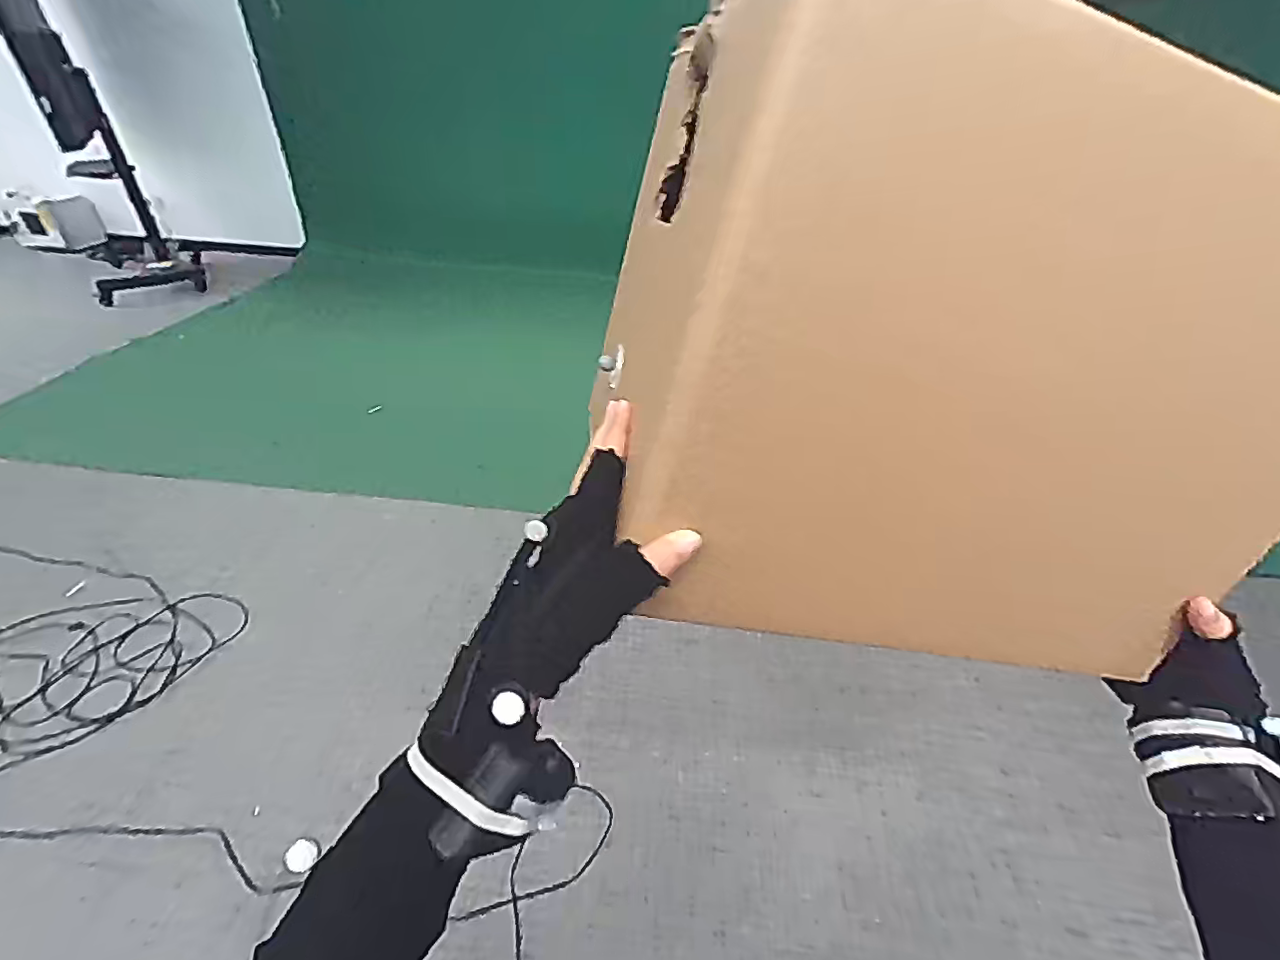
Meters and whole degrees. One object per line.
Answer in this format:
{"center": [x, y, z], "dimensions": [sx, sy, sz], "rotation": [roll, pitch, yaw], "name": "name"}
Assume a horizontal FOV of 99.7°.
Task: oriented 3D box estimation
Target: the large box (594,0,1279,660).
{"center": [0.198, -0.094, 0.425], "dimensions": [0.408, 0.320, 0.320], "rotation": [11, 28, -13], "name": "large box"}
